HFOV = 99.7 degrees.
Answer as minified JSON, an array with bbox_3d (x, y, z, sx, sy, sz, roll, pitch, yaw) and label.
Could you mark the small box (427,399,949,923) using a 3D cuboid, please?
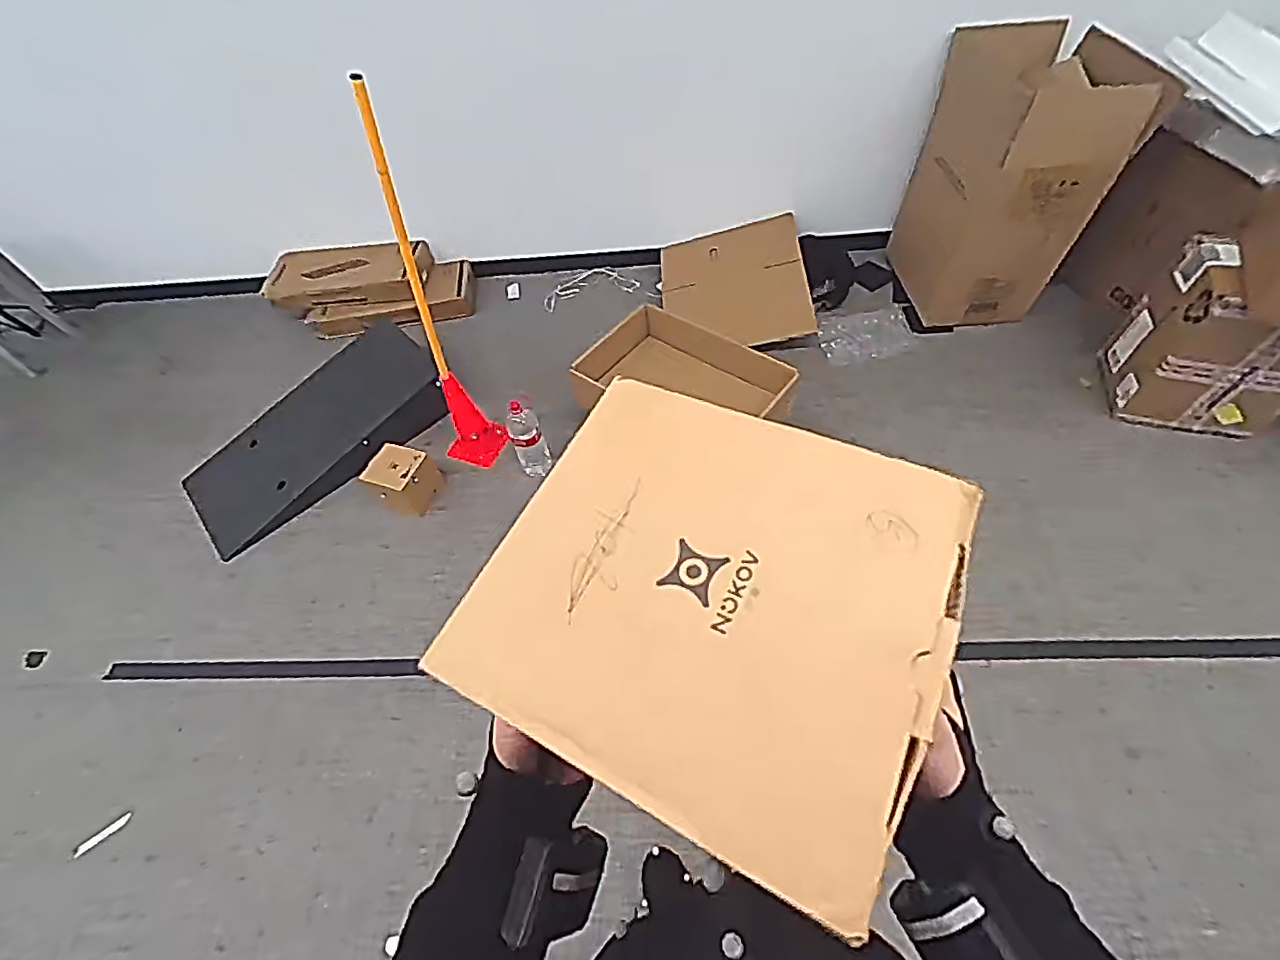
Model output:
[{"bbox_3d":[0.034,0.088,0.296,0.179,0.176,0.168,19,63,23],"label":"small box"}]
